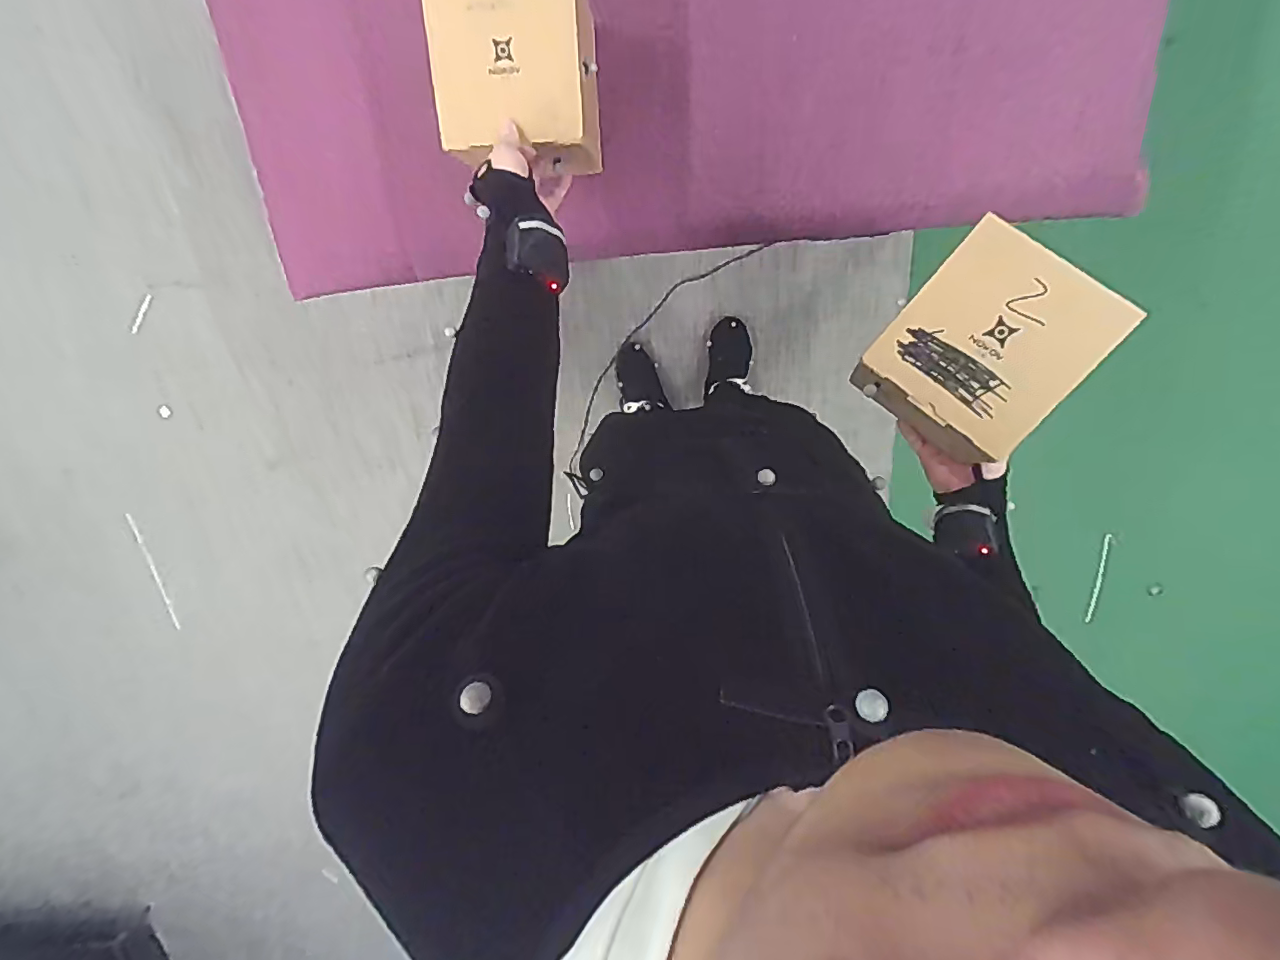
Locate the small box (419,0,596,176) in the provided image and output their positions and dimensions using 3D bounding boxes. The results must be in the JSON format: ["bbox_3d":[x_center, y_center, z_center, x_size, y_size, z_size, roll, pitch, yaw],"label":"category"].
[{"bbox_3d":[-0.148,-0.485,0.665,0.168,0.176,0.179,-1,108,3],"label":"small box"}]

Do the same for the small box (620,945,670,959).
[{"bbox_3d":[0.016,1.630,1.716,0.168,0.176,0.179,-1,107,3],"label":"small box"}]
